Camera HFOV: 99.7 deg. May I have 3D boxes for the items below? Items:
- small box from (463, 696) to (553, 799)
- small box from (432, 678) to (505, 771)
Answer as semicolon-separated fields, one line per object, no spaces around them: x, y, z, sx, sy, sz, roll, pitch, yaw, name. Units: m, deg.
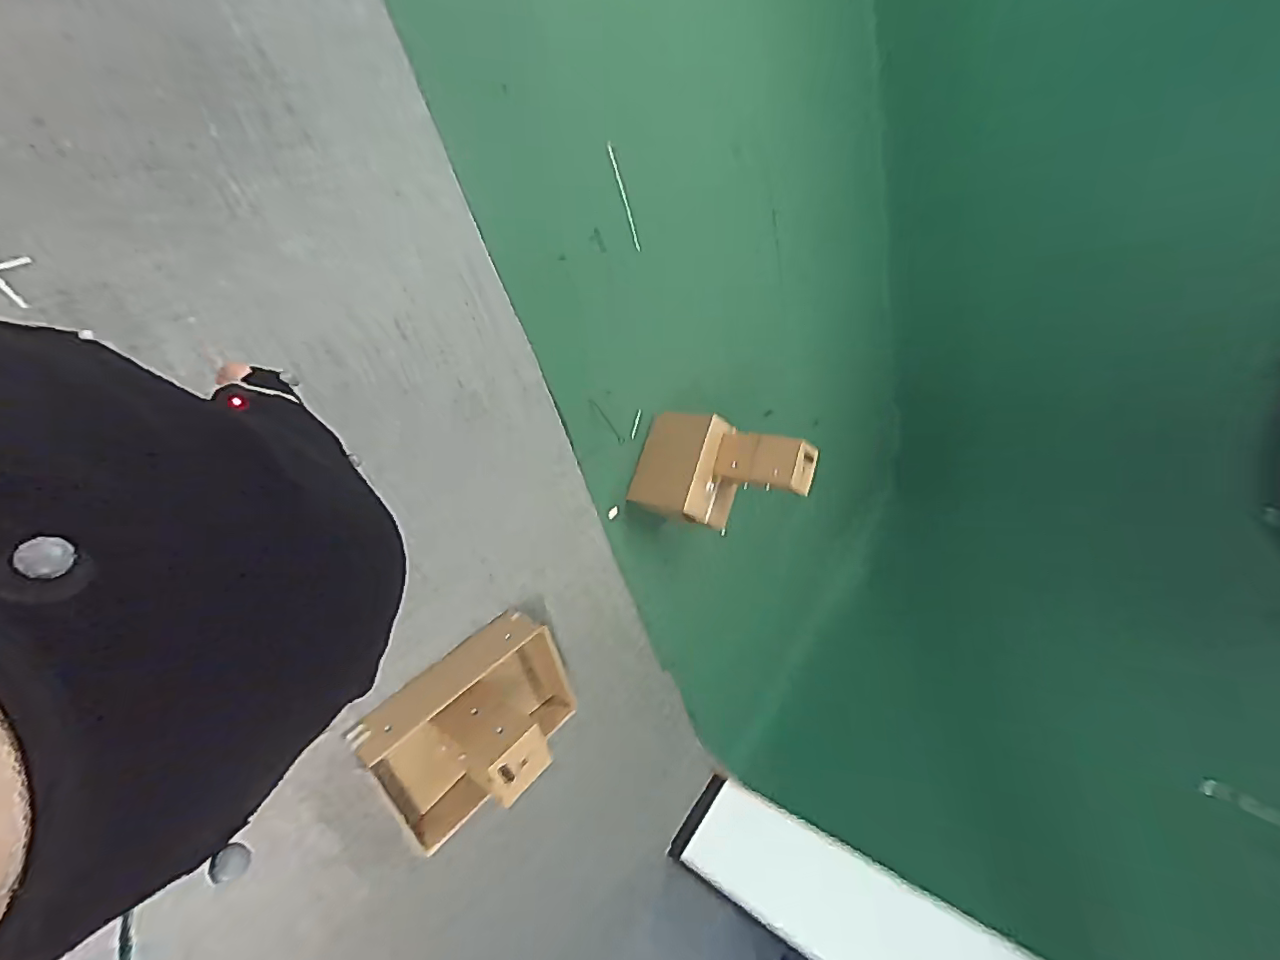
-0.393;0.774;1.583;0.179;0.176;0.168;-36;122;-39;small box
-0.513;0.756;1.693;0.179;0.176;0.168;-36;122;-38;small box
